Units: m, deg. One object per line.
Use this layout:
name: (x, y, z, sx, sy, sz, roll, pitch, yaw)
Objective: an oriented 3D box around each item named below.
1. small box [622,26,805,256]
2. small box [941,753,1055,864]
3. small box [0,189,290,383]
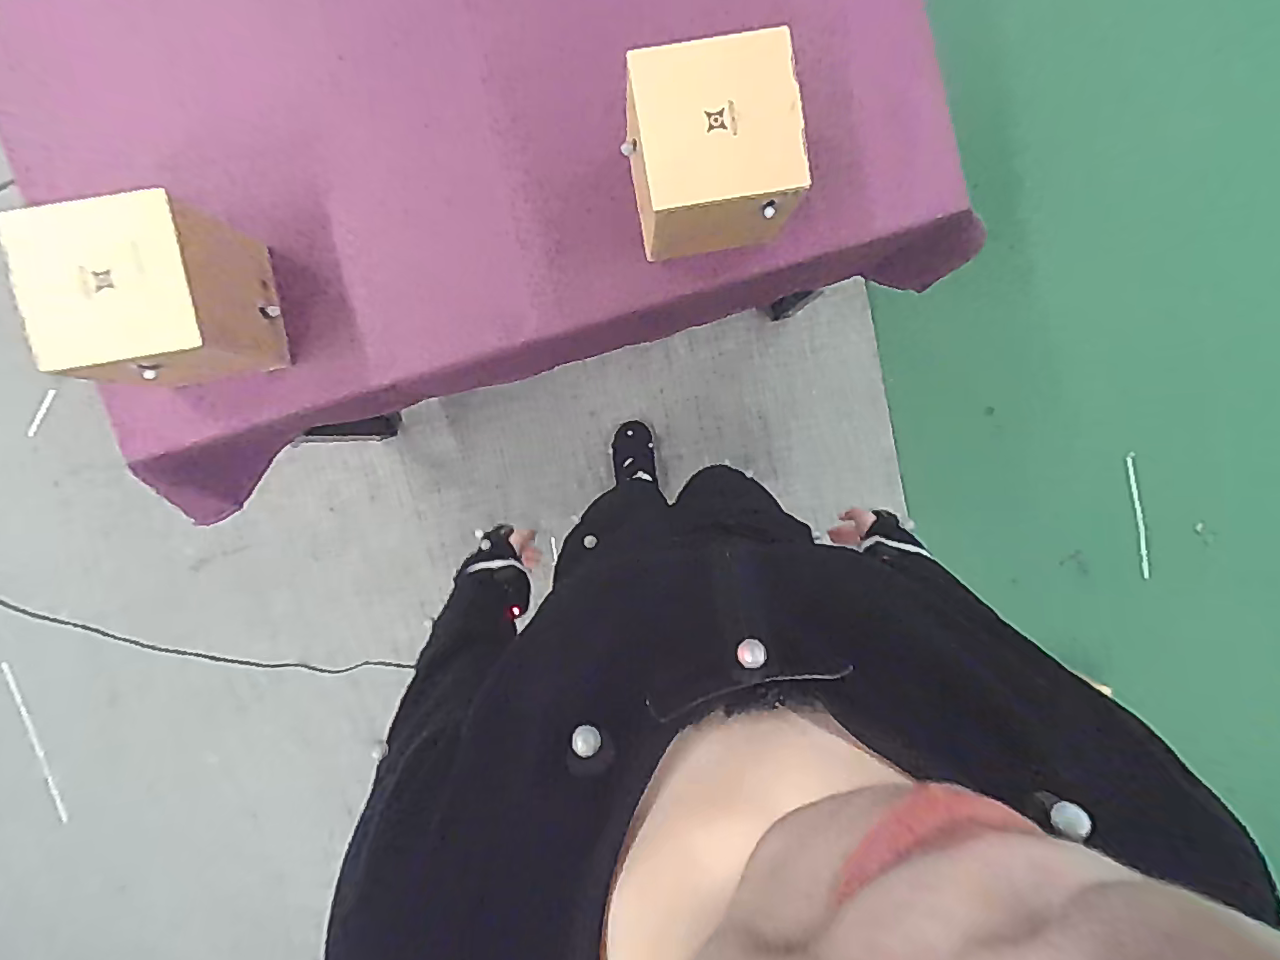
small box: (0.077, -0.387, 0.651, 0.179, 0.176, 0.168, -10, 95, -1)
small box: (0.998, 0.915, 1.525, 0.168, 0.176, 0.179, 32, 94, -5)
small box: (-0.565, -0.214, 0.643, 0.179, 0.176, 0.168, -9, 95, -2)
